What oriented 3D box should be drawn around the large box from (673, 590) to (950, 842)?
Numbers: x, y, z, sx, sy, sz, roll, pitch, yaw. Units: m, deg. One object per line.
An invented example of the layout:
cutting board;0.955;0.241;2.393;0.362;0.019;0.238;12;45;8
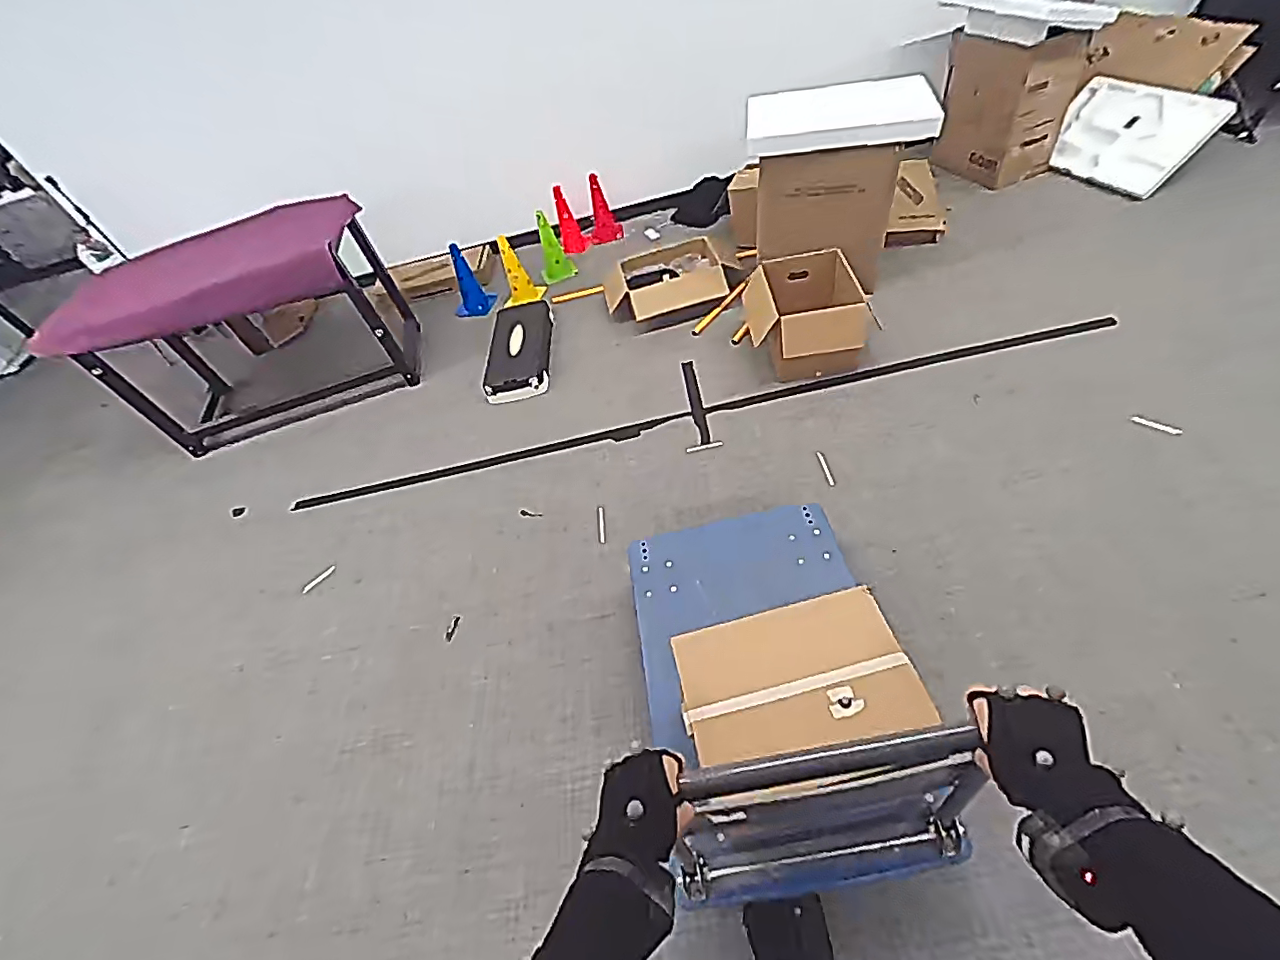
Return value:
large box;0.310;0.476;1.082;0.408;0.320;0.320;-15;48;0
